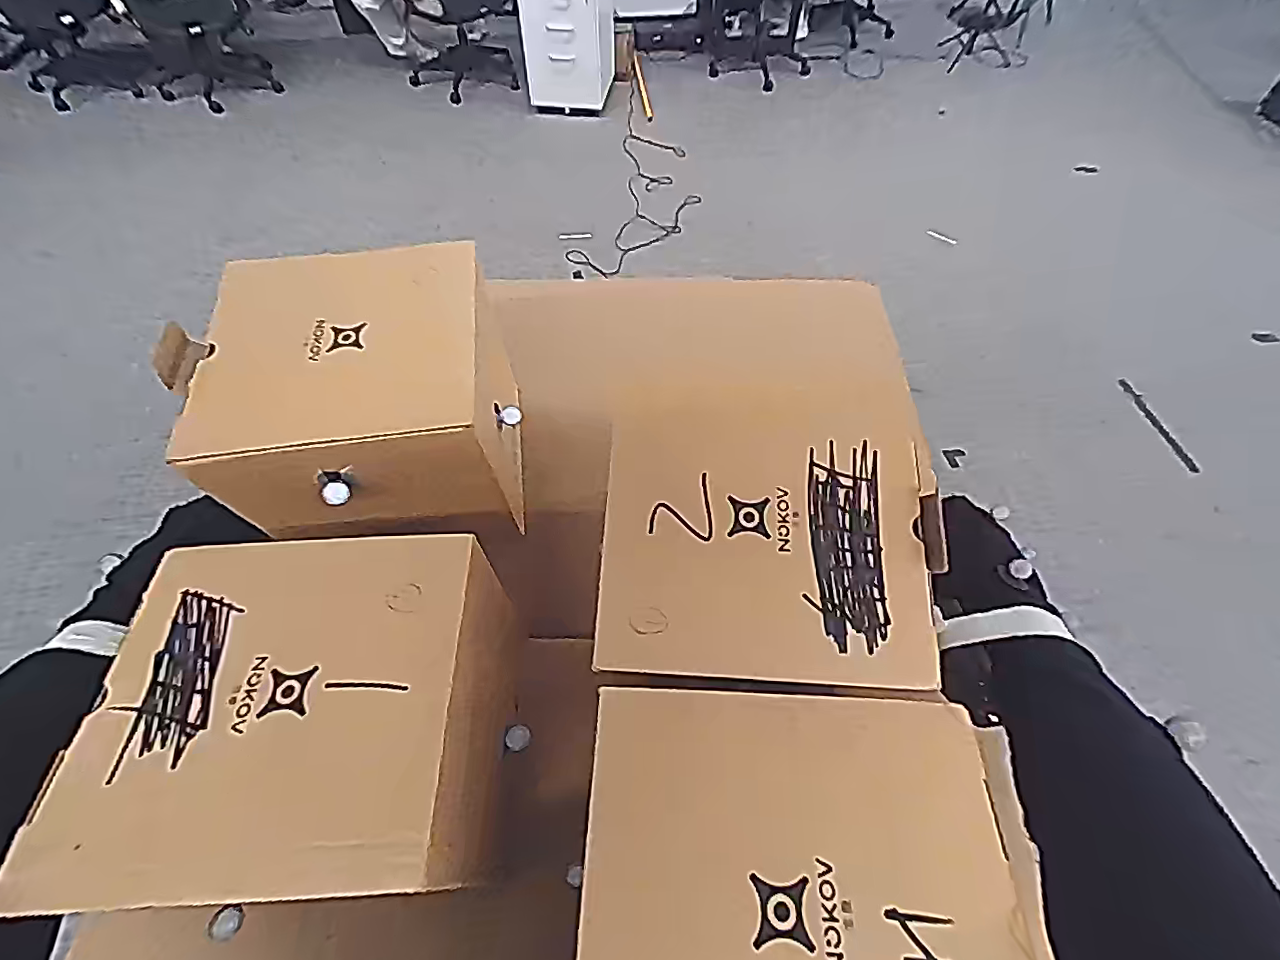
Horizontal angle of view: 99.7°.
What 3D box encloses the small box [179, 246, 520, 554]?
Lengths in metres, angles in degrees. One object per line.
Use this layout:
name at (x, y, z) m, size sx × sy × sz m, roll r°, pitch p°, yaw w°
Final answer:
small box at (-0.194, -0.054, 0.429) m, size 0.179 × 0.176 × 0.168 m, roll -7°, pitch 61°, yaw -3°
